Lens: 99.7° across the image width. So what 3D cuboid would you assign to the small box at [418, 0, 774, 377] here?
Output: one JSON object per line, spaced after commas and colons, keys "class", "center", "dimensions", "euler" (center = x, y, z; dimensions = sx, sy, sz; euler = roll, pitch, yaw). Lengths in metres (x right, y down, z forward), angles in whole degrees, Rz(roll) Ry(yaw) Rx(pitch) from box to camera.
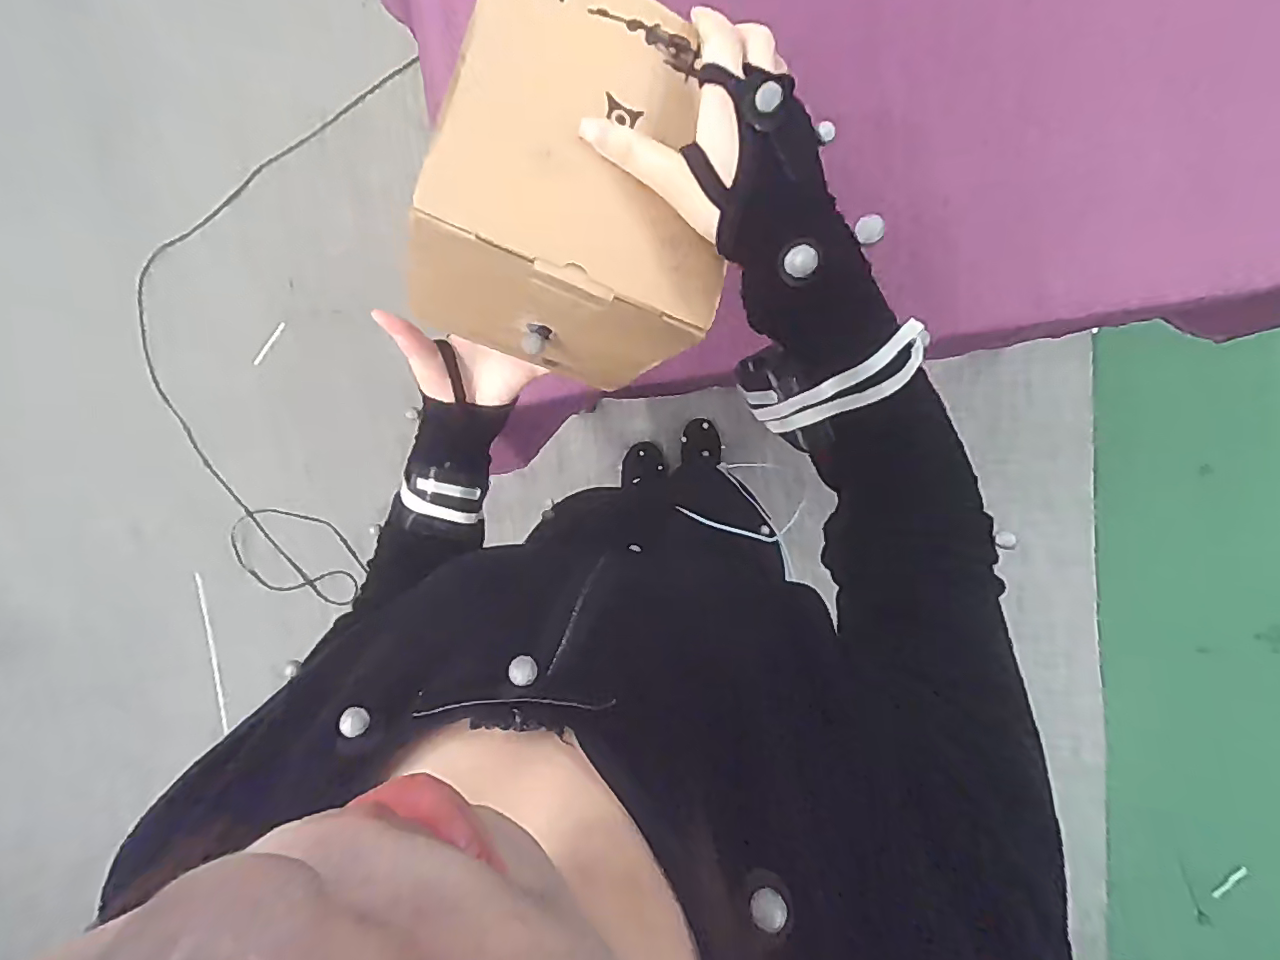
{"class": "small box", "center": [-0.041, -0.185, 0.369], "dimensions": [0.168, 0.176, 0.179], "euler": [17, 83, -22]}
